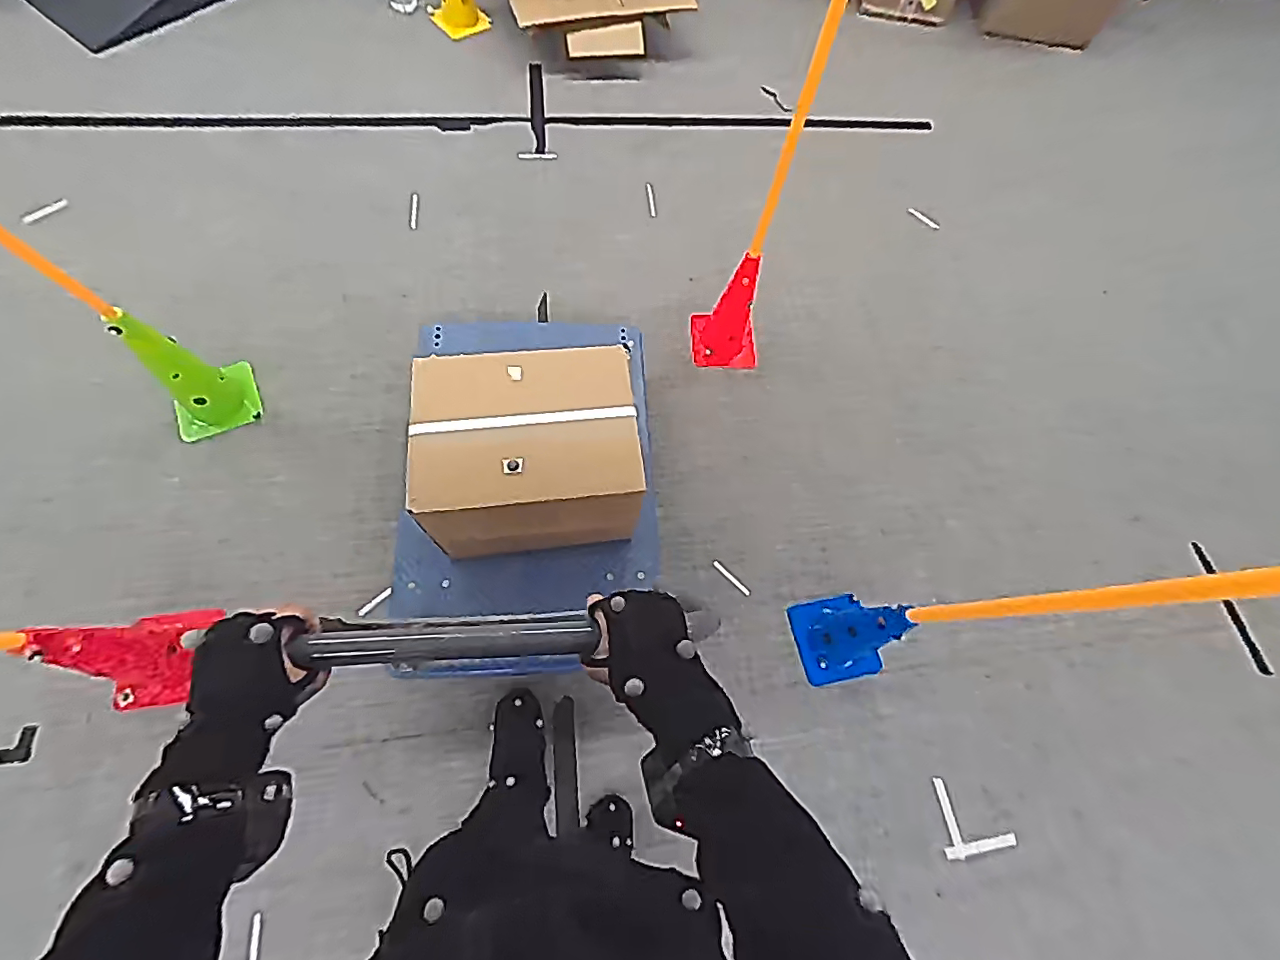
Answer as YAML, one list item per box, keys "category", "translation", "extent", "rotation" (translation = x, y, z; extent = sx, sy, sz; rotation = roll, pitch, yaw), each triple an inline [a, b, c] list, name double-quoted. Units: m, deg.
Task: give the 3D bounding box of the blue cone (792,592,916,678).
- category: "blue cone"
  translation: [0.507, 0.324, 1.213]
  extent: [0.193, 0.380, 0.192]
  rotation: [-8, 67, -9]

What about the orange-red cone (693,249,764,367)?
- category: "orange-red cone"
  translation: [0.280, -0.503, 1.522]
  extent: [0.199, 0.360, 0.198]
  rotation: [2, 68, -6]
